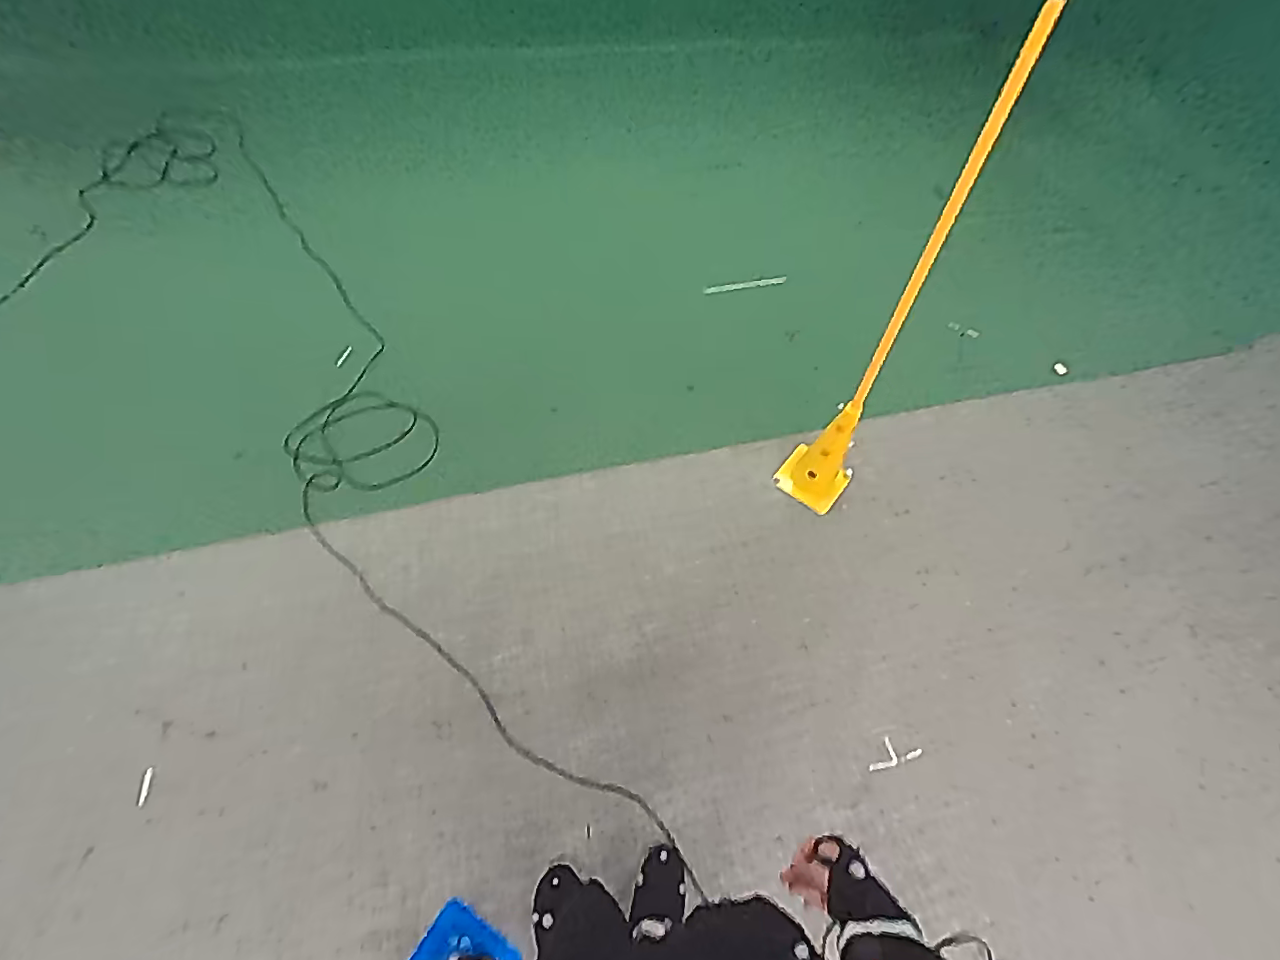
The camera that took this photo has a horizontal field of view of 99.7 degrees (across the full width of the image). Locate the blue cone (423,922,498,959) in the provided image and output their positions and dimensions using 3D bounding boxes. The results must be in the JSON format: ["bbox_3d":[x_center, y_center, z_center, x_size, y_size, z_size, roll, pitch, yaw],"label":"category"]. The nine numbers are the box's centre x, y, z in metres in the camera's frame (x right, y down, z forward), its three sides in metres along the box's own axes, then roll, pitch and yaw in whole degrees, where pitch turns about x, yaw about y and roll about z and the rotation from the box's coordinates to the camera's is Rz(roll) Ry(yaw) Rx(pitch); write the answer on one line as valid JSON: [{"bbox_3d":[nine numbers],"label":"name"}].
[{"bbox_3d":[-0.355,0.917,0.896,0.192,0.380,0.193,28,62,13],"label":"blue cone"}]
